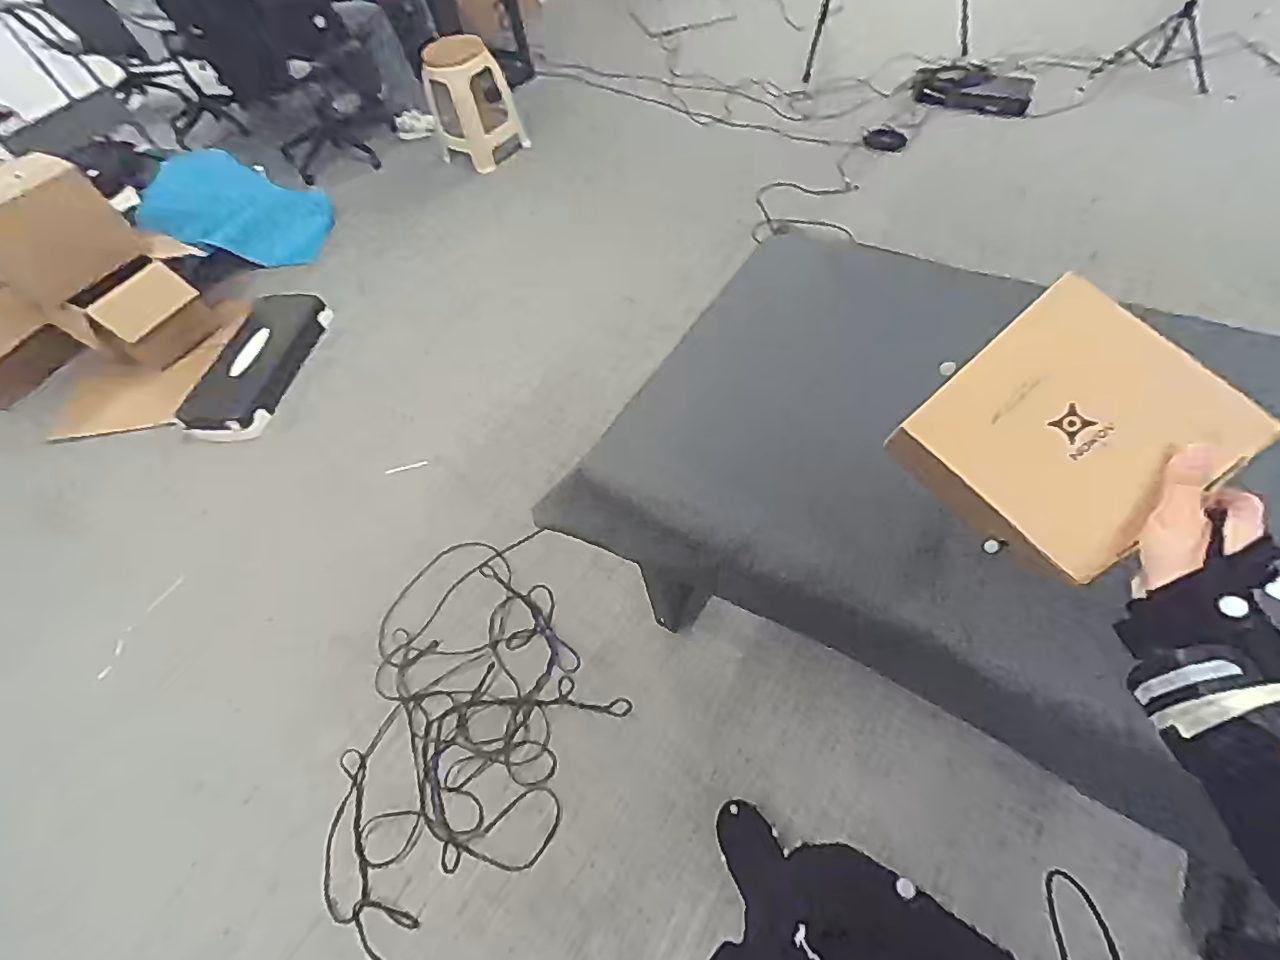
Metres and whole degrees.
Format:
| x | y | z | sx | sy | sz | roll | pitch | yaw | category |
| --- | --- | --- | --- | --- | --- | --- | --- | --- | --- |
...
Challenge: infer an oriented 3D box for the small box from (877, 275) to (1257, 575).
| x | y | z | sx | sy | sz | roll | pitch | yaw | category |
| --- | --- | --- | --- | --- | --- | --- | --- | --- | --- |
| 0.344 | -0.040 | 0.486 | 0.168 | 0.176 | 0.179 | -46 | 74 | 9 | small box |
